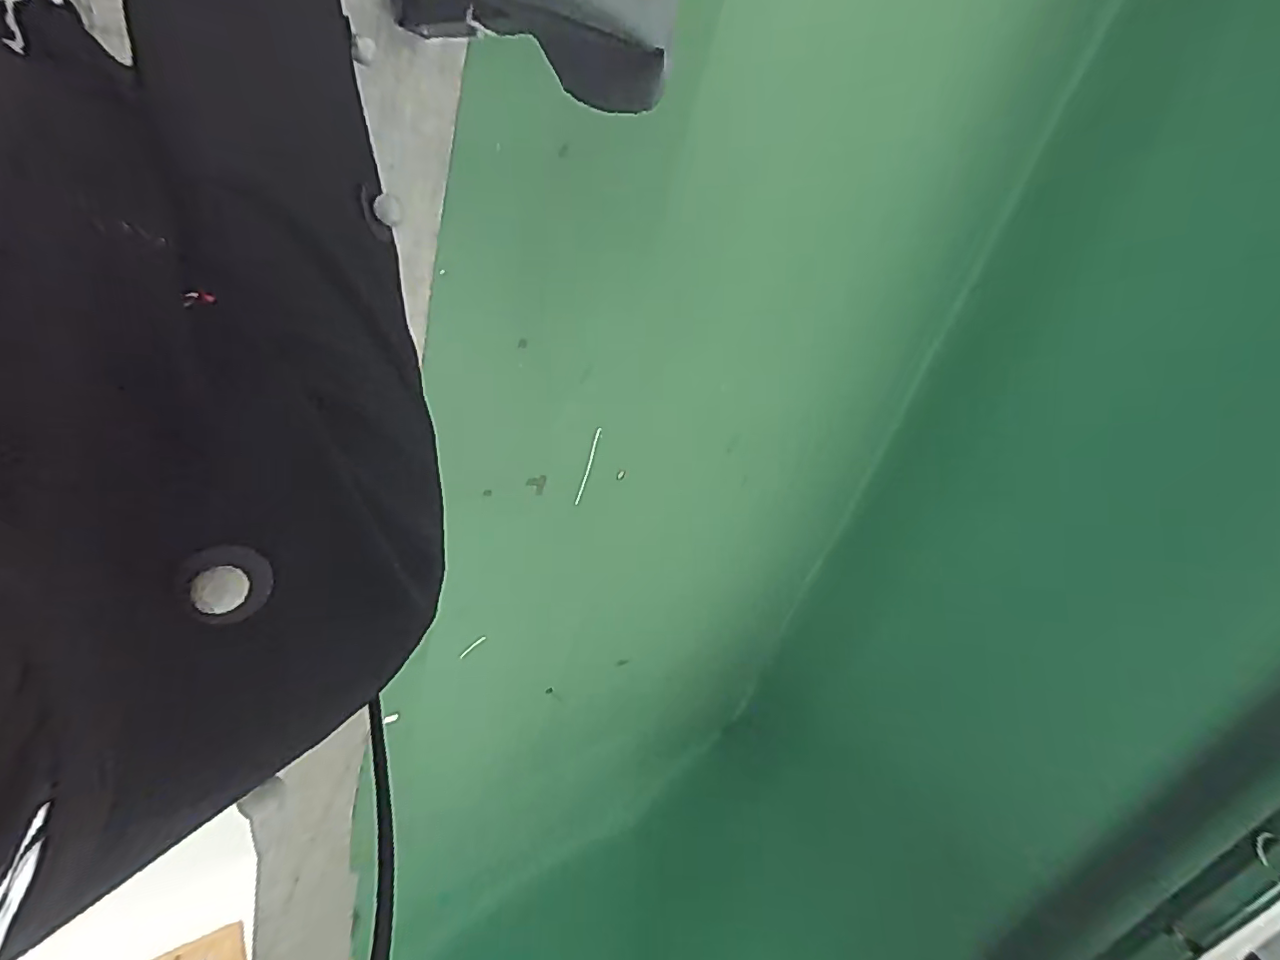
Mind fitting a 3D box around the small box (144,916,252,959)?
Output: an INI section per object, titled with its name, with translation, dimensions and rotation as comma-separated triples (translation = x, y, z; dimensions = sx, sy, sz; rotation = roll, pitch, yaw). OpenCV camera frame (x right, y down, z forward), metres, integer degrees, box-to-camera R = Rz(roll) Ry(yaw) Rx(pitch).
[small box]
translation = -0.861, 1.014, 1.052
dimensions = 0.168, 0.176, 0.179
rotation = 0, 119, -44
